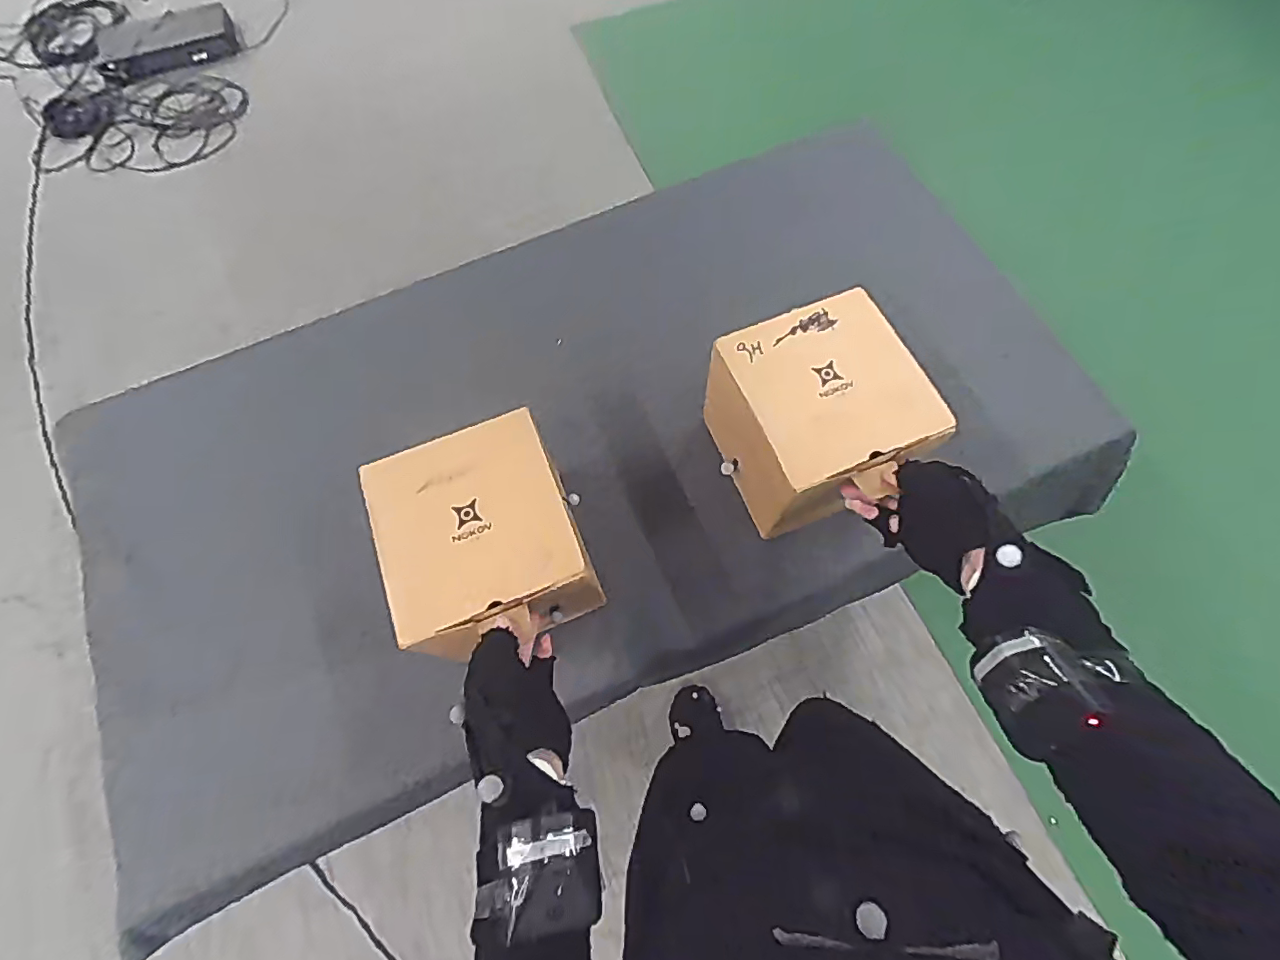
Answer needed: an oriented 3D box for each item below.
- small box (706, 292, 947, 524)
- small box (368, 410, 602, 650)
[{"bbox_3d":[0.183,-0.064,0.593,0.168,0.176,0.179,-20,70,-6],"label":"small box"},{"bbox_3d":[-0.146,0.063,0.558,0.168,0.176,0.179,-21,68,-8],"label":"small box"}]
